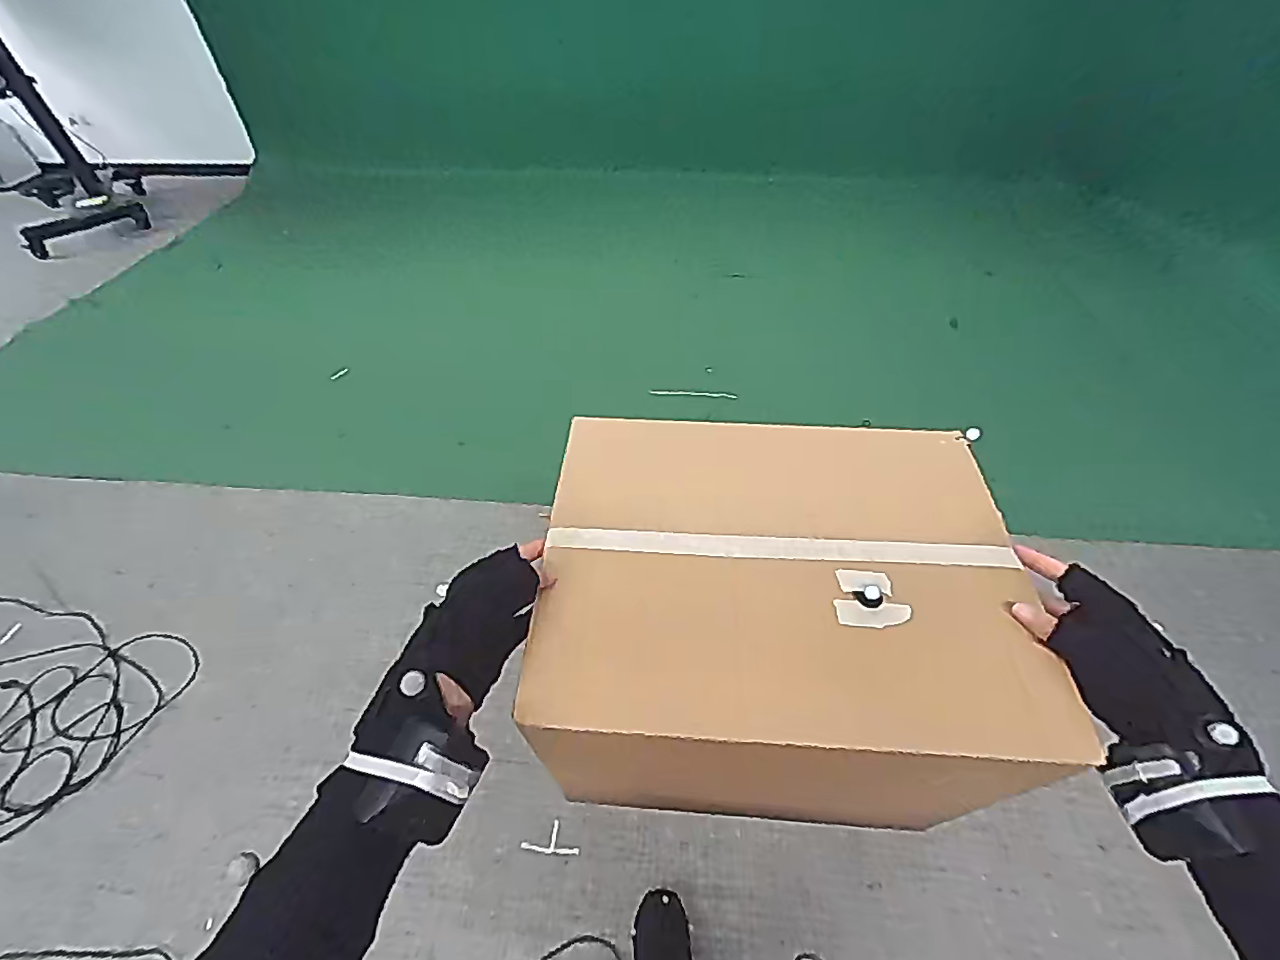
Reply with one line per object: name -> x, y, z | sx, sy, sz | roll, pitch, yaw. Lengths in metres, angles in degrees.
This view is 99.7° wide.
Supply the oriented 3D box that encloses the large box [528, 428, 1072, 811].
large box -> 0.121, 0.159, 0.600 | 0.408, 0.320, 0.320 | 2, 51, 3
